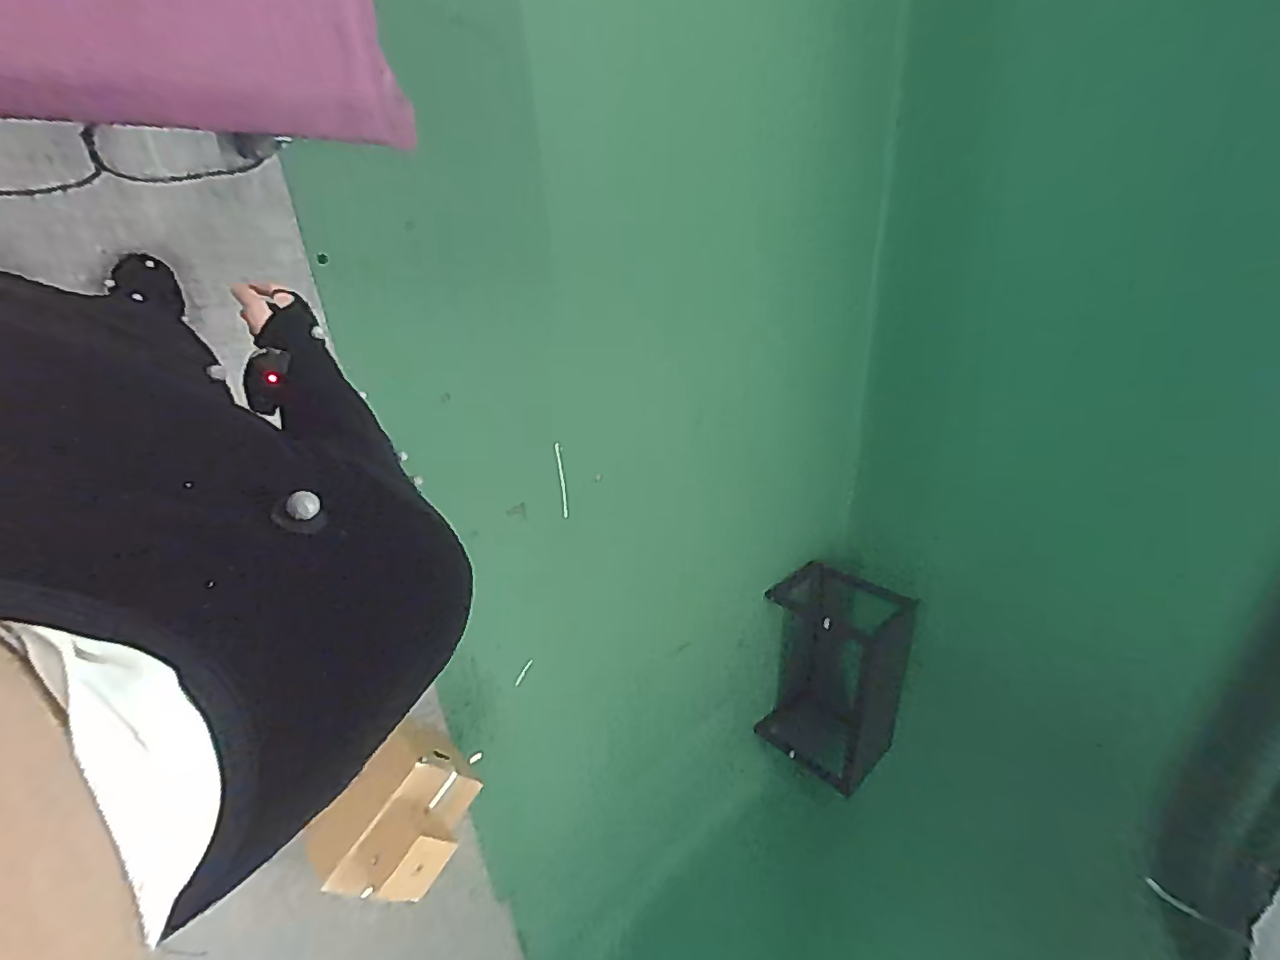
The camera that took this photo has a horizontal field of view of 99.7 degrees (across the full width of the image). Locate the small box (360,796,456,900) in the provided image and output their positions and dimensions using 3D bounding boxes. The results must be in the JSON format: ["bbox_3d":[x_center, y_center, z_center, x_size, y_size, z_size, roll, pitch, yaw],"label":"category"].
[{"bbox_3d":[-0.682,1.068,1.575,0.179,0.176,0.168,-52,134,-18],"label":"small box"}]
